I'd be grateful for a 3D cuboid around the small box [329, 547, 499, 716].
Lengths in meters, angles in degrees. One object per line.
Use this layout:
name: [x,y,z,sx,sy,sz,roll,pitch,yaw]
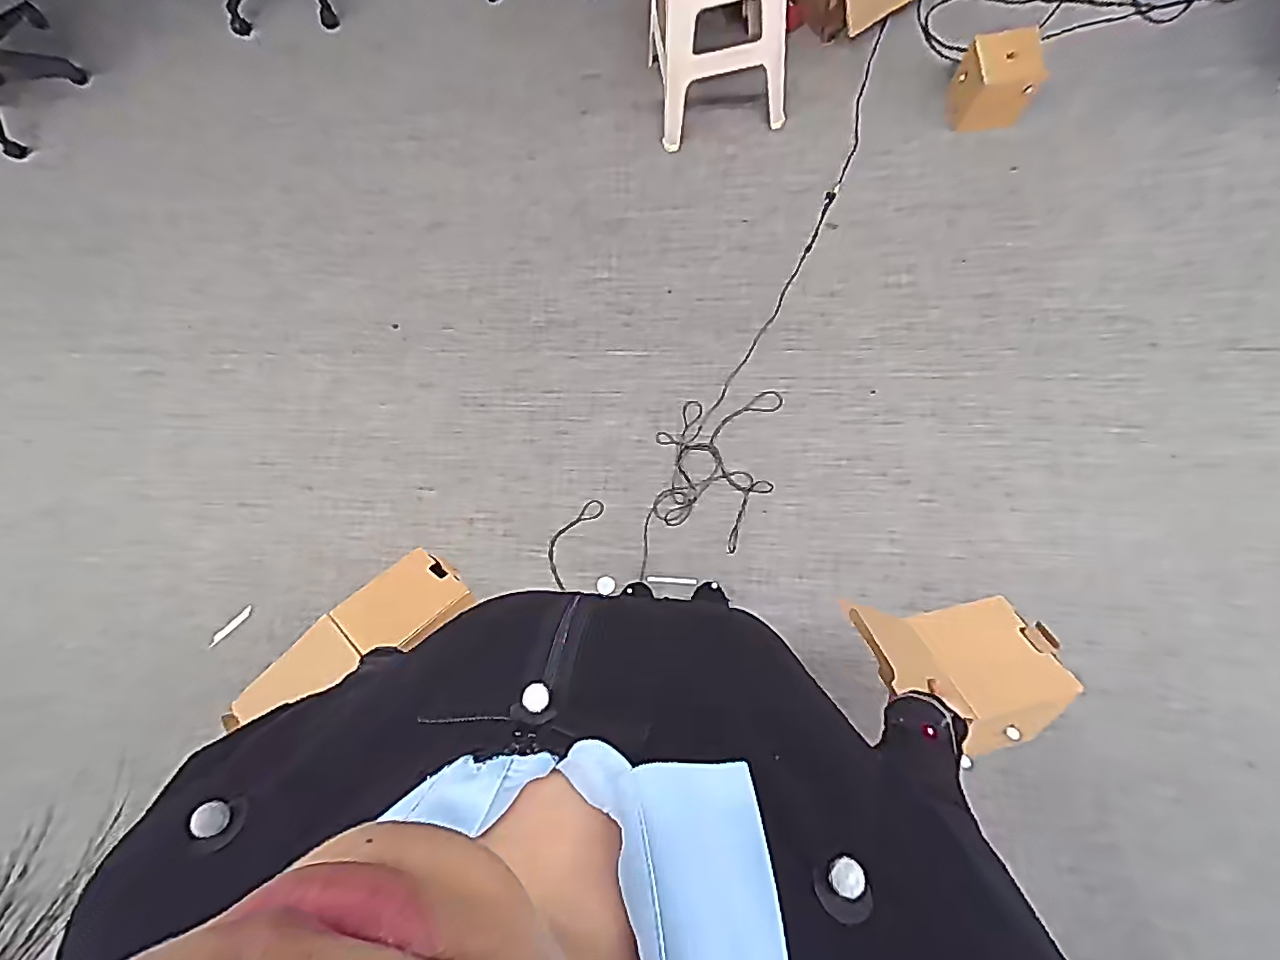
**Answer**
small box: [-0.368,0.252,0.904,0.168,0.176,0.179,25,52,37]
